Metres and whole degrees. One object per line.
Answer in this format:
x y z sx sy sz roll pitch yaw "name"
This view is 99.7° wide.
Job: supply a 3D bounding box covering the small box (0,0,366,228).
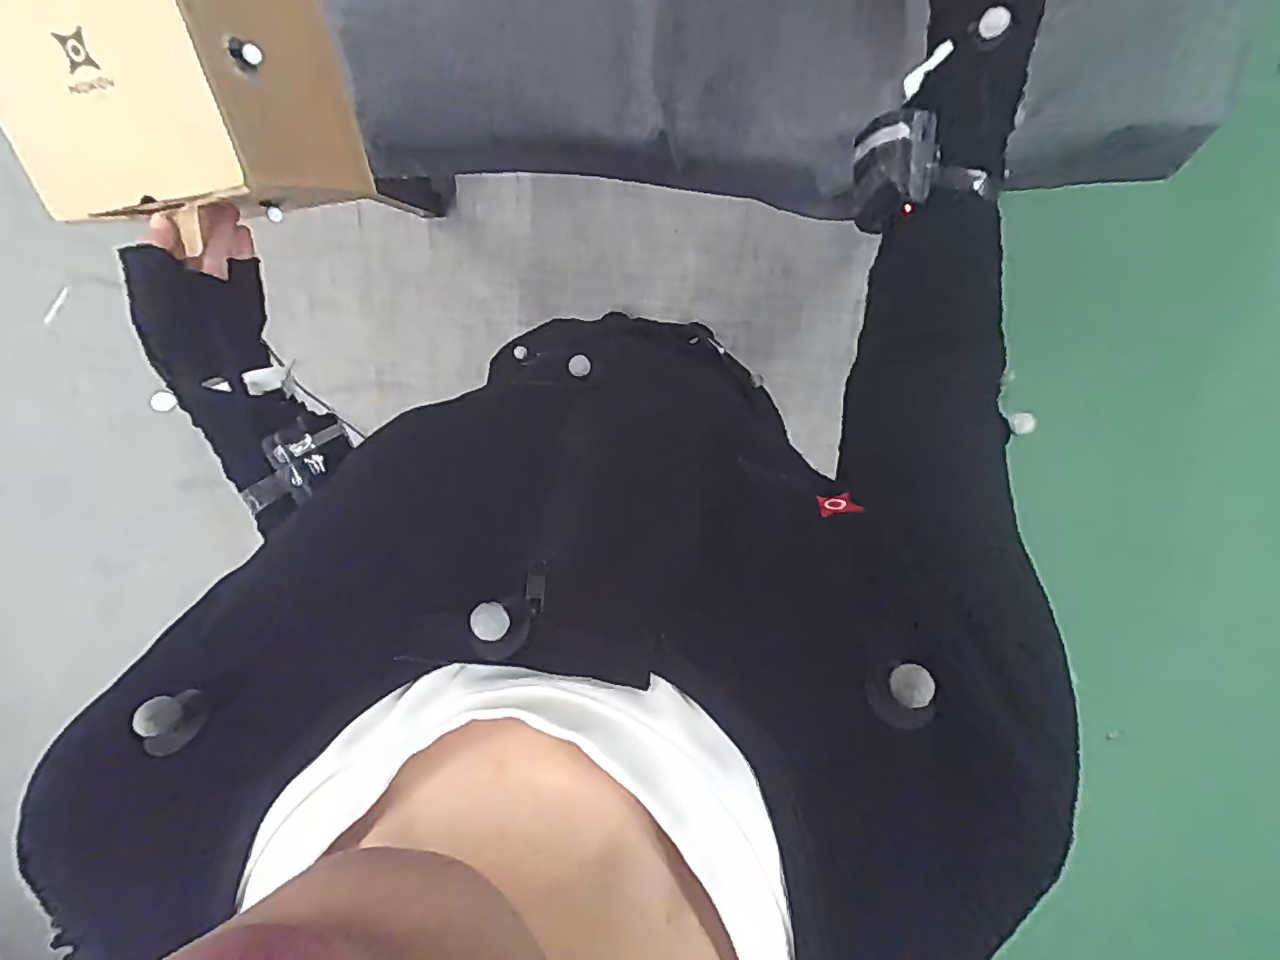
-0.348 -0.302 0.414 0.168 0.176 0.179 -5 115 9 "small box"
